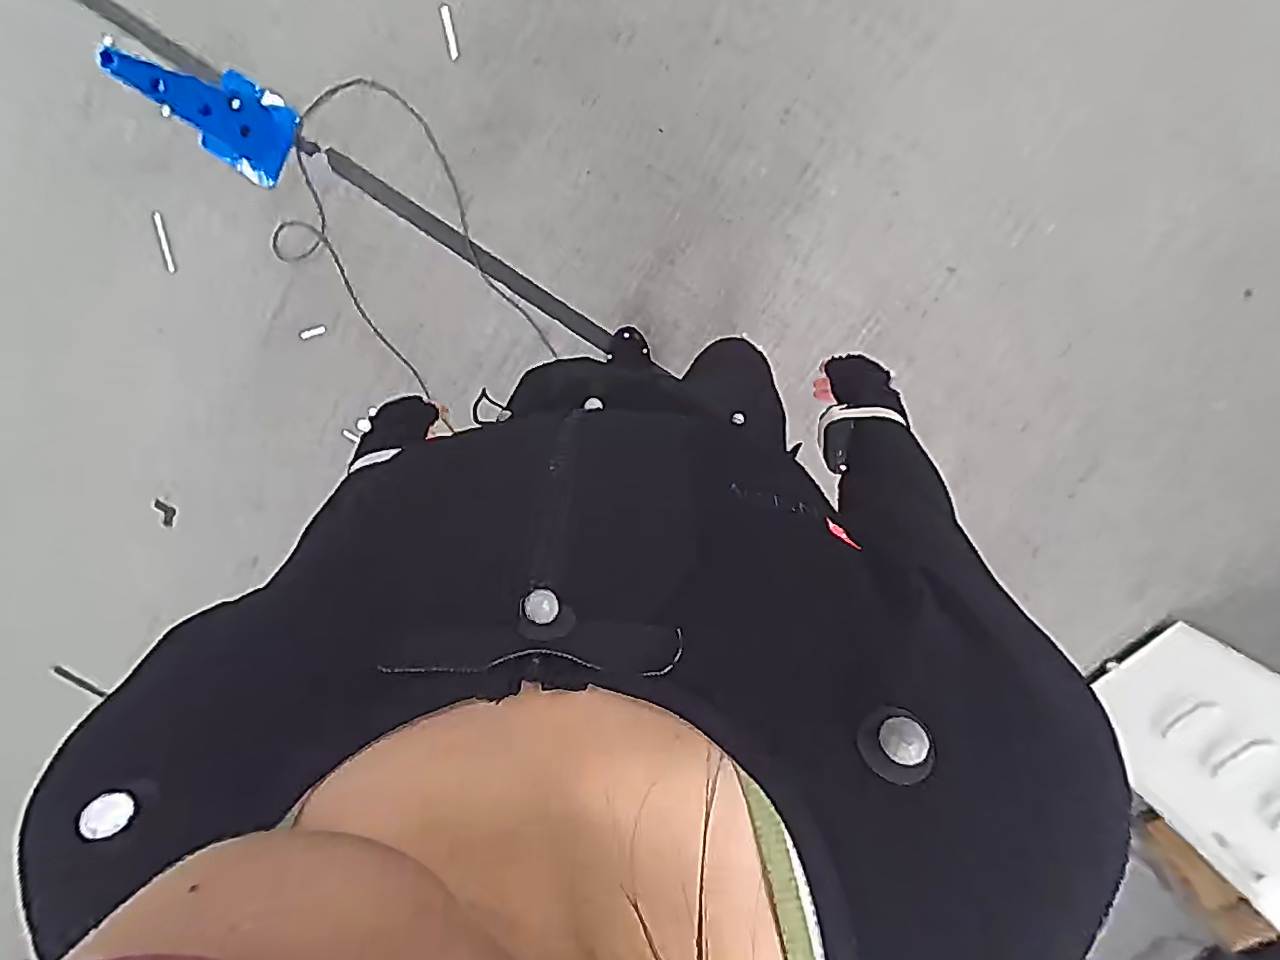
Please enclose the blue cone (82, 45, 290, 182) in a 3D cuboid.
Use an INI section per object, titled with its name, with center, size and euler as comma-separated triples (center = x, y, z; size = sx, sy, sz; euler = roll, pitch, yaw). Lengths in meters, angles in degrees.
[blue cone]
center = -0.949, -0.793, 1.132
size = 0.192, 0.380, 0.193
euler = 31, 105, -6
